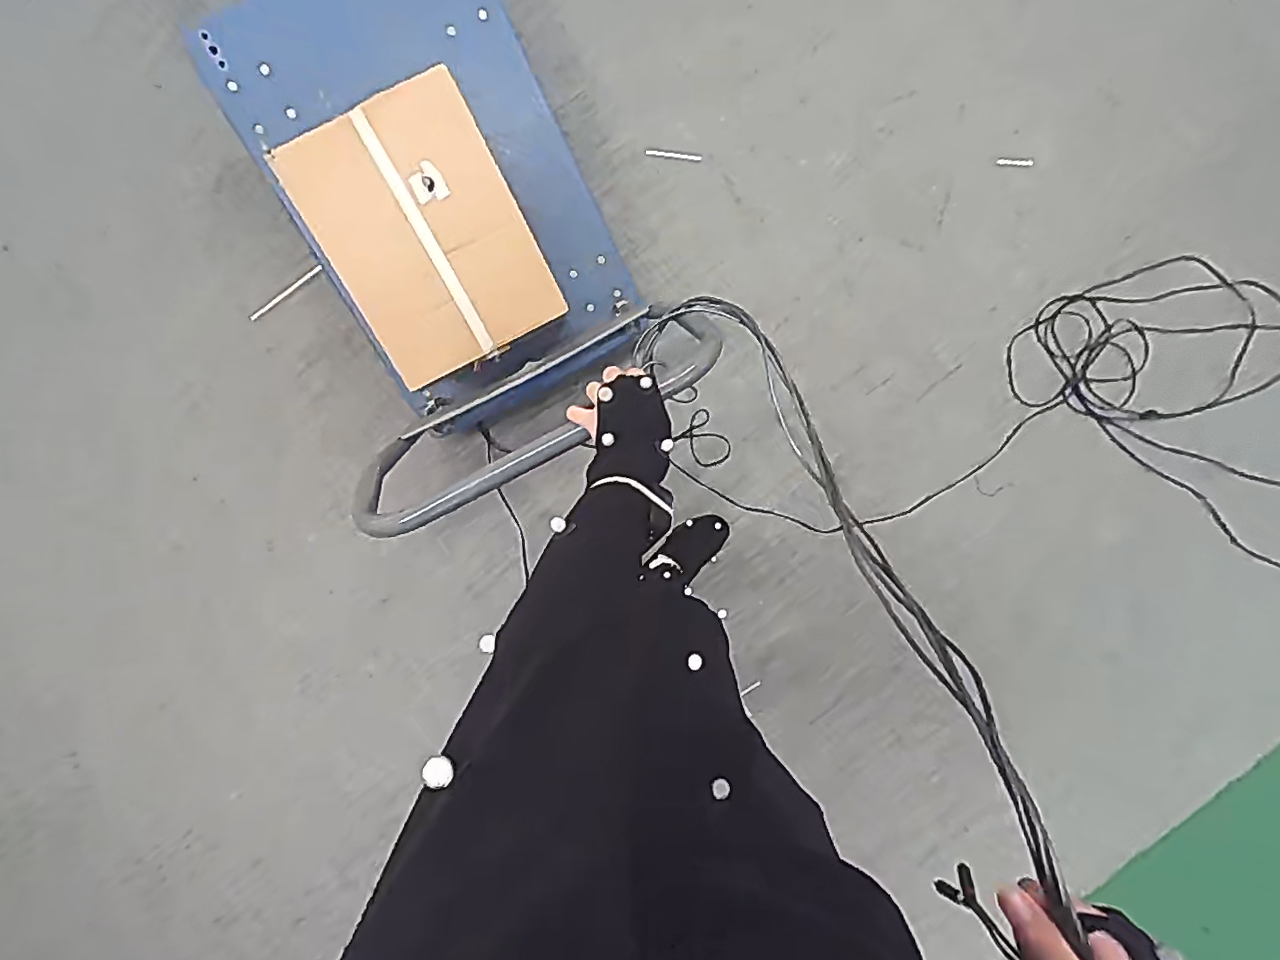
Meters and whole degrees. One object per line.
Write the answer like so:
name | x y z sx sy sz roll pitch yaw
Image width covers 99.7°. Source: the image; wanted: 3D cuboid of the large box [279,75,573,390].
large box | -0.356 -0.426 1.032 0.320 0.320 0.408 -28 105 -1
